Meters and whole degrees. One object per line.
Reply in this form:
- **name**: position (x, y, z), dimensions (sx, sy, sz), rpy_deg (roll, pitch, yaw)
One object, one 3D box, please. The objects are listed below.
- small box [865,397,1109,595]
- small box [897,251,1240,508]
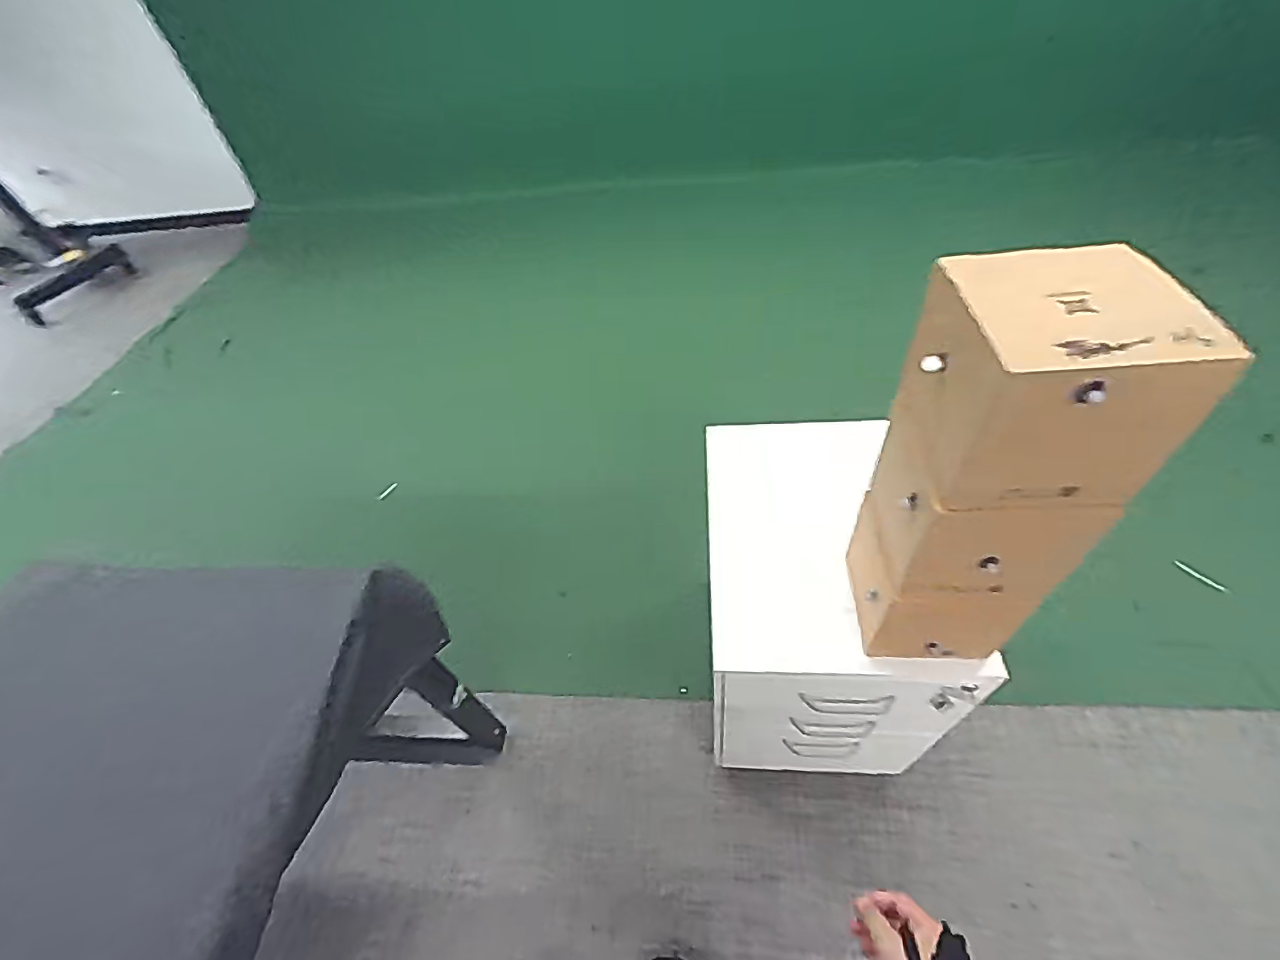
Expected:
- **small box**: position (0.377, 0.020, 0.630), dimensions (0.168, 0.176, 0.179), rpy_deg (0, 49, 7)
- **small box**: position (0.364, -0.092, 0.512), dimensions (0.168, 0.176, 0.179), rpy_deg (-2, 48, 6)
